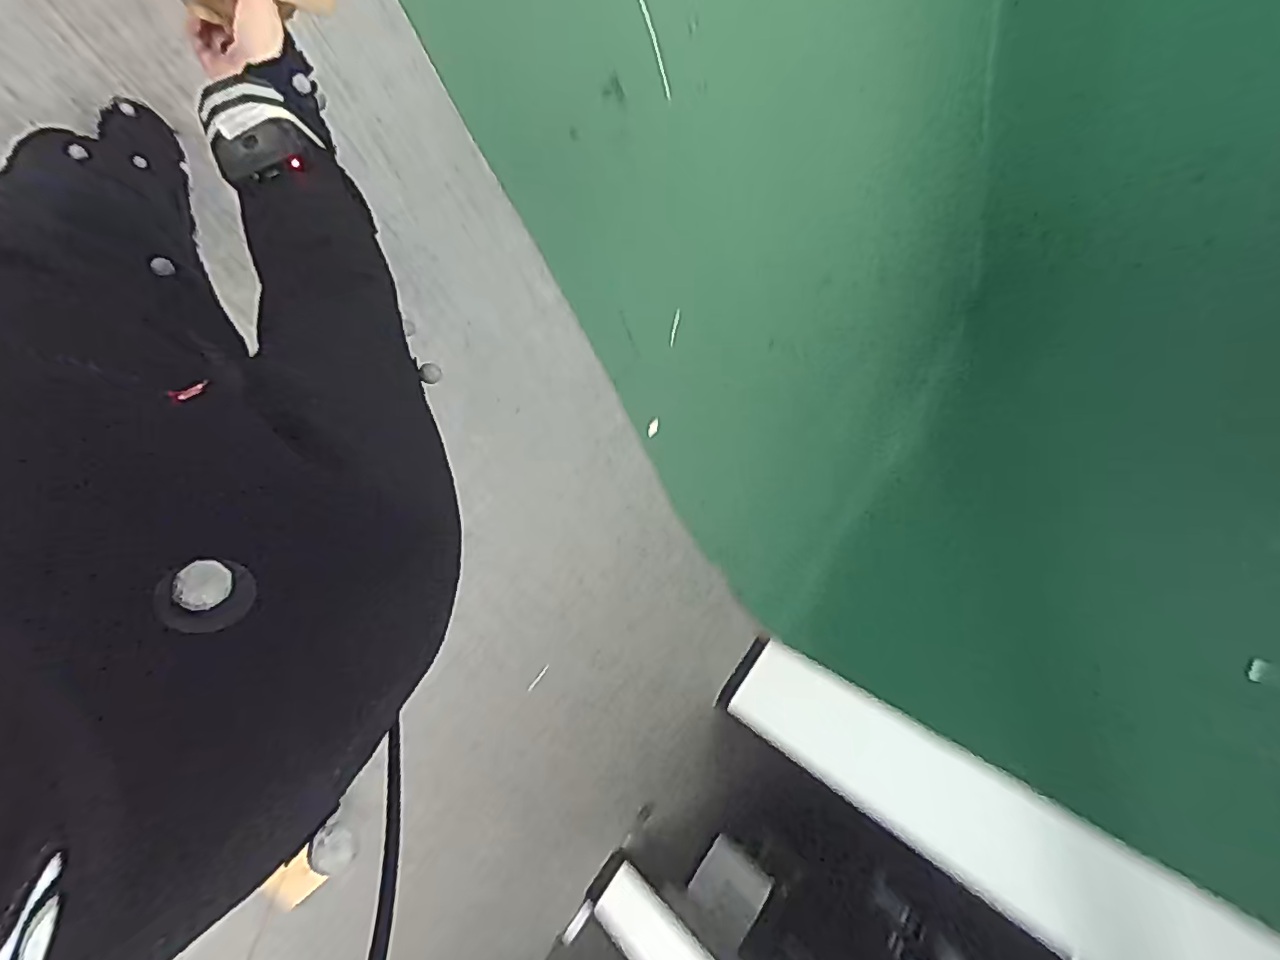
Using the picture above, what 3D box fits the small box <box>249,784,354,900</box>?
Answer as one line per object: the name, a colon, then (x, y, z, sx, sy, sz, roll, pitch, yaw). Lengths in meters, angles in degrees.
small box: (-0.916, 0.972, 1.466, 0.168, 0.176, 0.179, -35, 131, -31)
